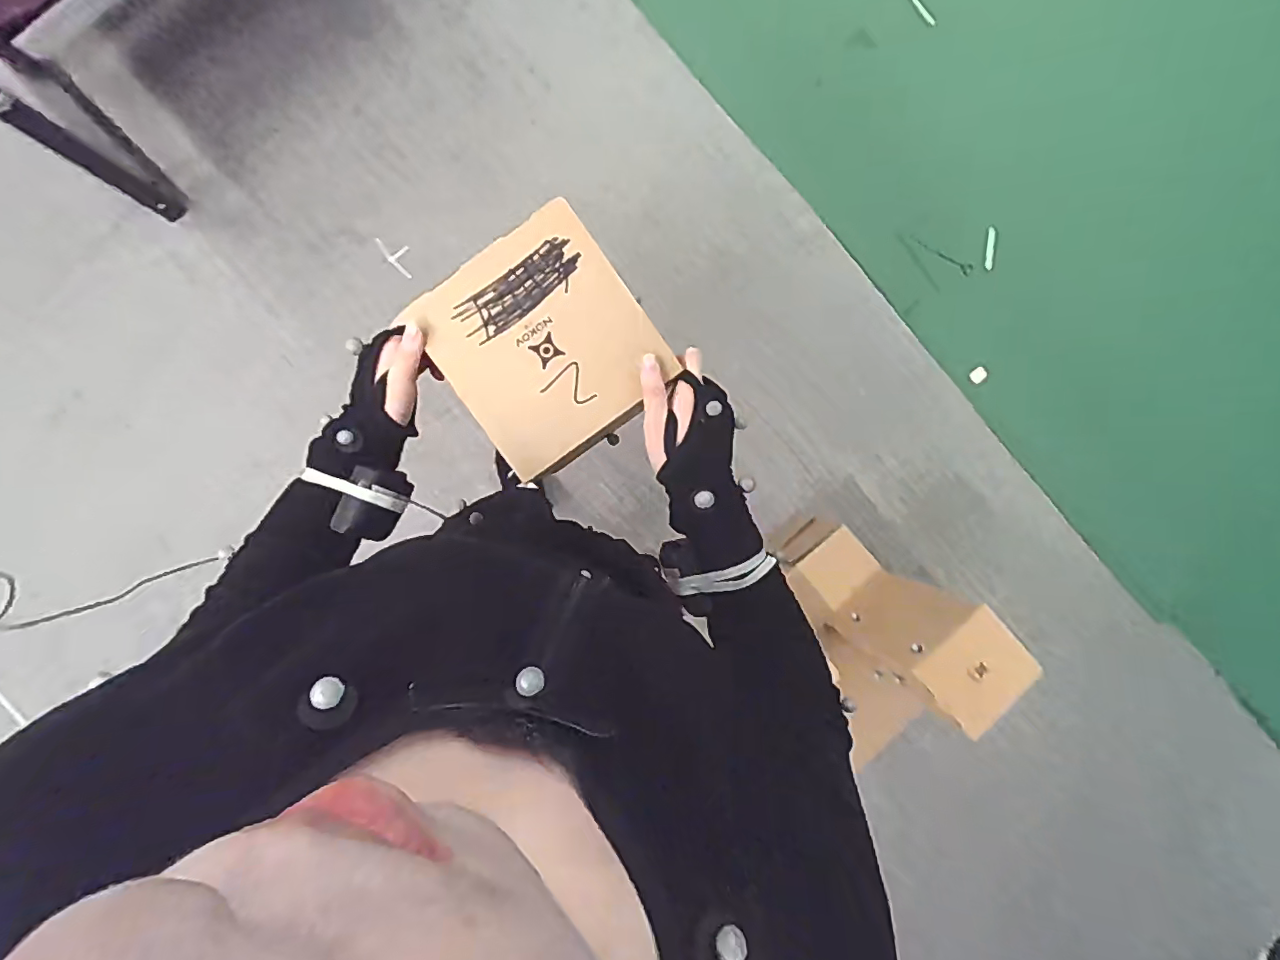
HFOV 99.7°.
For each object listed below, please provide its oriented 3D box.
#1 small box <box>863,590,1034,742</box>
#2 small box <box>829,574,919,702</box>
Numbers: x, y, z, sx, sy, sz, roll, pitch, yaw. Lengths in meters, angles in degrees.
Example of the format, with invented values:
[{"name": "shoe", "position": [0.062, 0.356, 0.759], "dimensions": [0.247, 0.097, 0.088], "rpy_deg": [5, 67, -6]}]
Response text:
[{"name": "small box", "position": [0.554, 0.327, 0.996], "dimensions": [0.179, 0.176, 0.168], "rpy_deg": [-42, 94, -3]}, {"name": "small box", "position": [0.533, 0.328, 1.157], "dimensions": [0.179, 0.176, 0.168], "rpy_deg": [-43, 94, -4]}]
